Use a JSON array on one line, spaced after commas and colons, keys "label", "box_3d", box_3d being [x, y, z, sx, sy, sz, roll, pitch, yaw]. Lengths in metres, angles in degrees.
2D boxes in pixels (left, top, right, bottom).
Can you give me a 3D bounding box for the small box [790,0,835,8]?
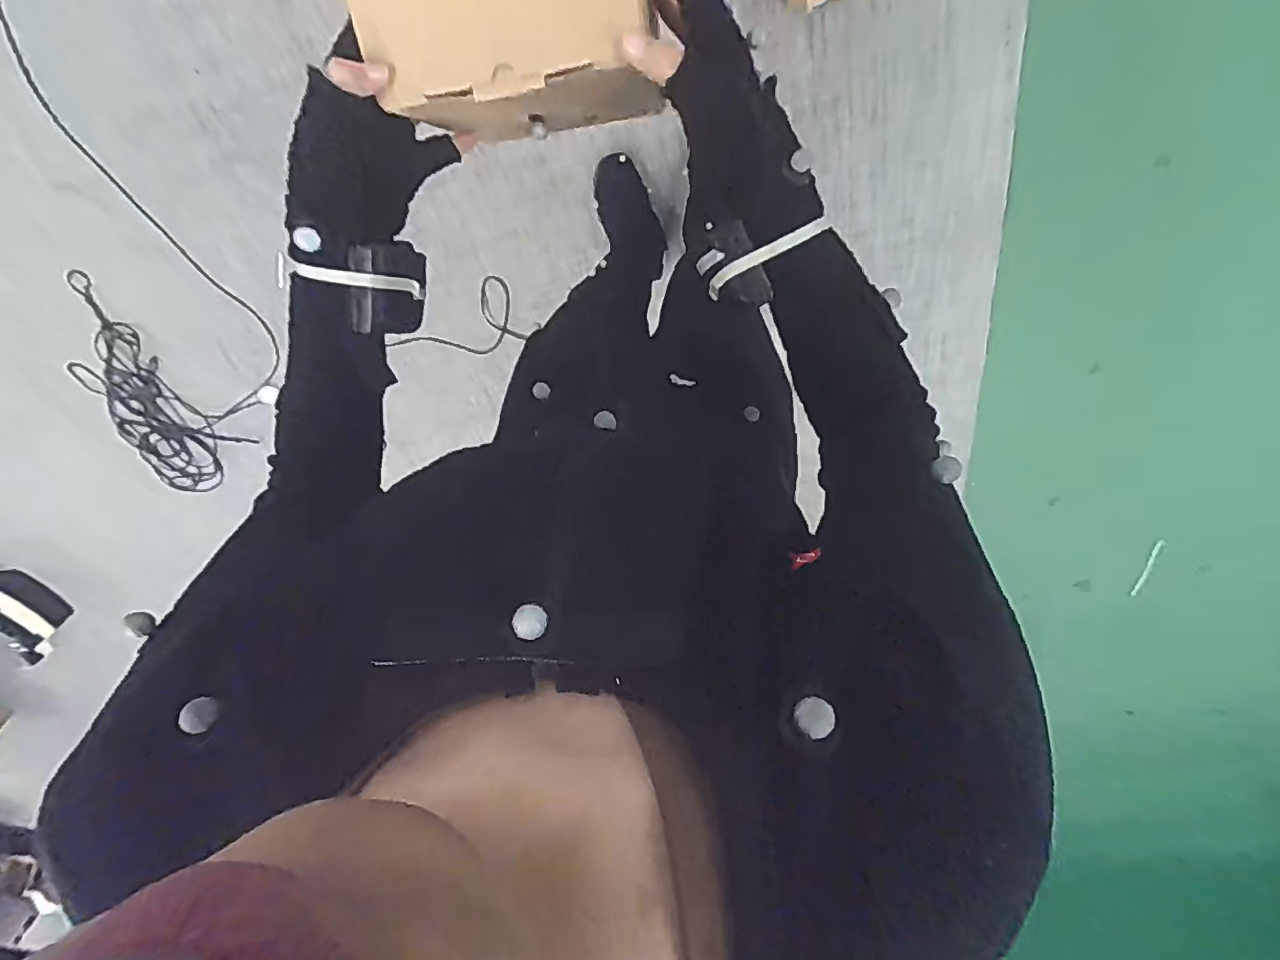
[{"label": "small box", "box_3d": [0.324, -0.884, 0.857, 0.168, 0.176, 0.179, -10, 129, 10]}]
